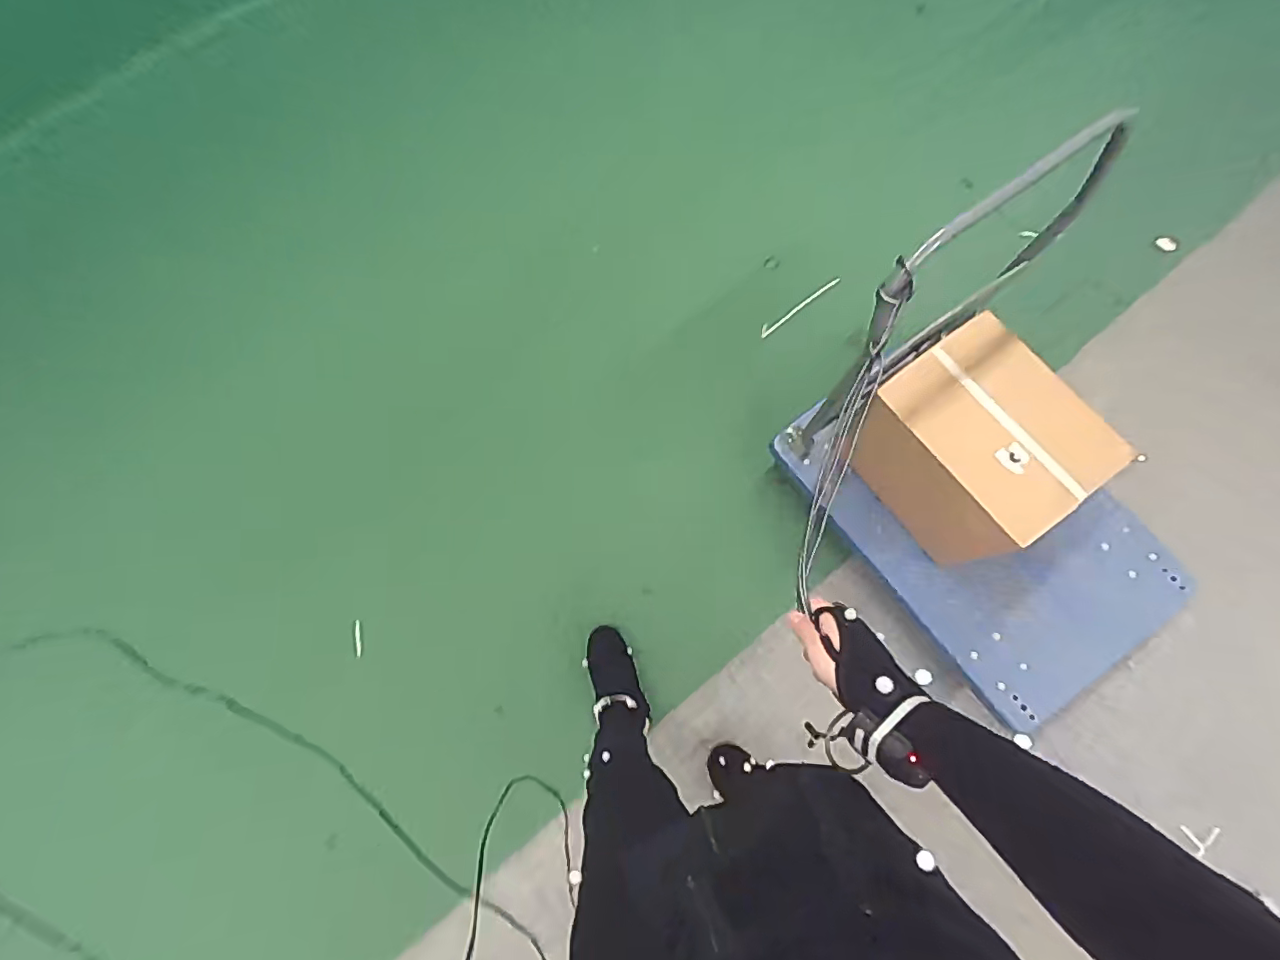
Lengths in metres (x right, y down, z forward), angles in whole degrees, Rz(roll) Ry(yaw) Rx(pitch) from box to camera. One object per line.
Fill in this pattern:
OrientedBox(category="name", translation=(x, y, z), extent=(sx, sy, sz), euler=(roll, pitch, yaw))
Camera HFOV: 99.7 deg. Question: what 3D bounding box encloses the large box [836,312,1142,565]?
OrientedBox(category="large box", translation=(0.721, -0.074, 1.194), extent=(0.320, 0.320, 0.408), euler=(-35, 77, -7))
